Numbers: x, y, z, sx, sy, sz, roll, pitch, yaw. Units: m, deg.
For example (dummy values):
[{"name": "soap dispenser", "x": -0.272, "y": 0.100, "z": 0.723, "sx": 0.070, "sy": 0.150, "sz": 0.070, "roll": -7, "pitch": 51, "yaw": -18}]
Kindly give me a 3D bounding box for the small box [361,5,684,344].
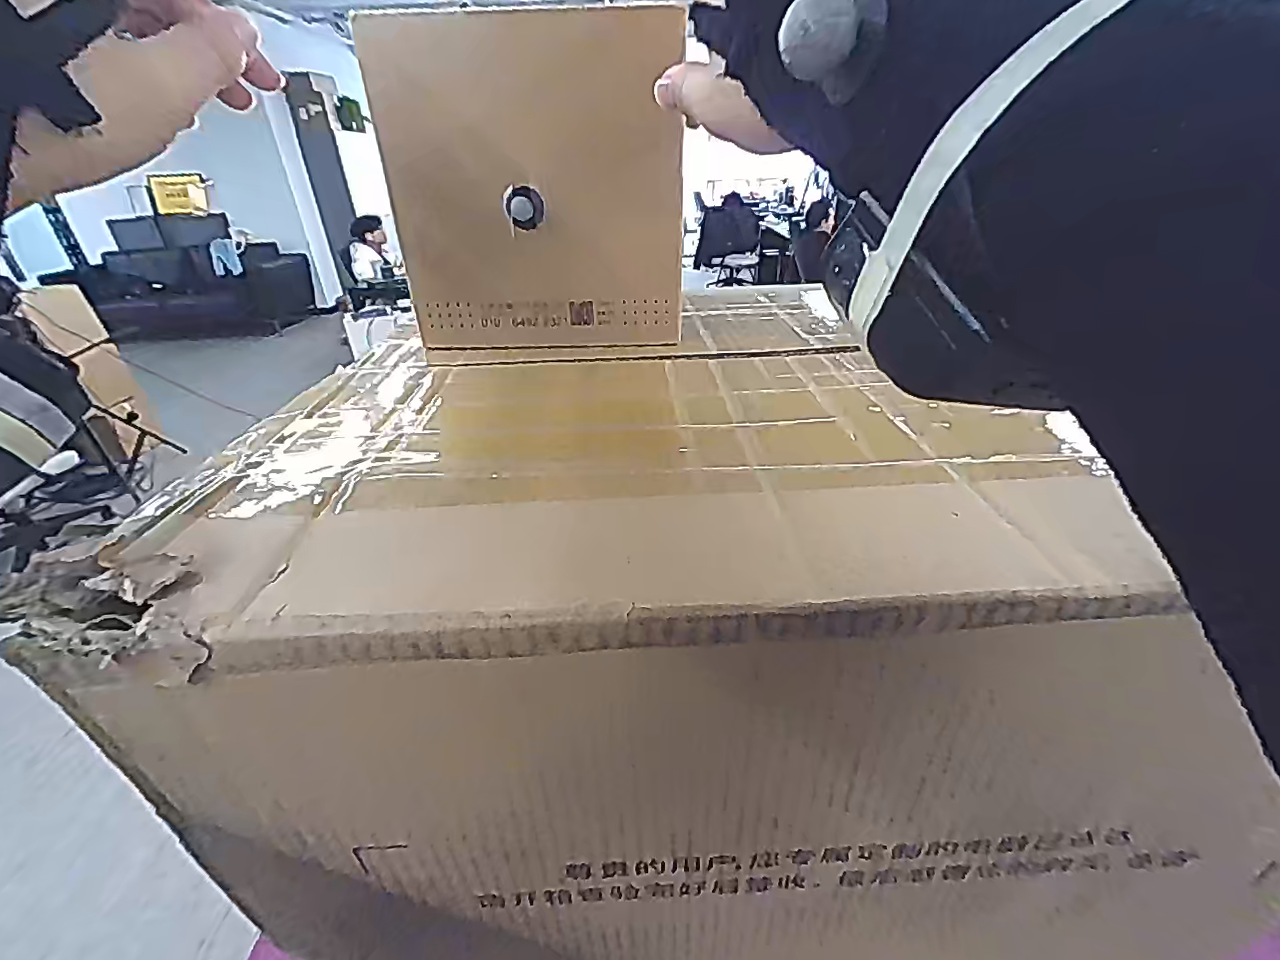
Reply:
[{"name": "small box", "x": -0.054, "y": -0.197, "z": 0.376, "sx": 0.168, "sy": 0.176, "sz": 0.179, "roll": 0, "pitch": 30, "yaw": 1}]
